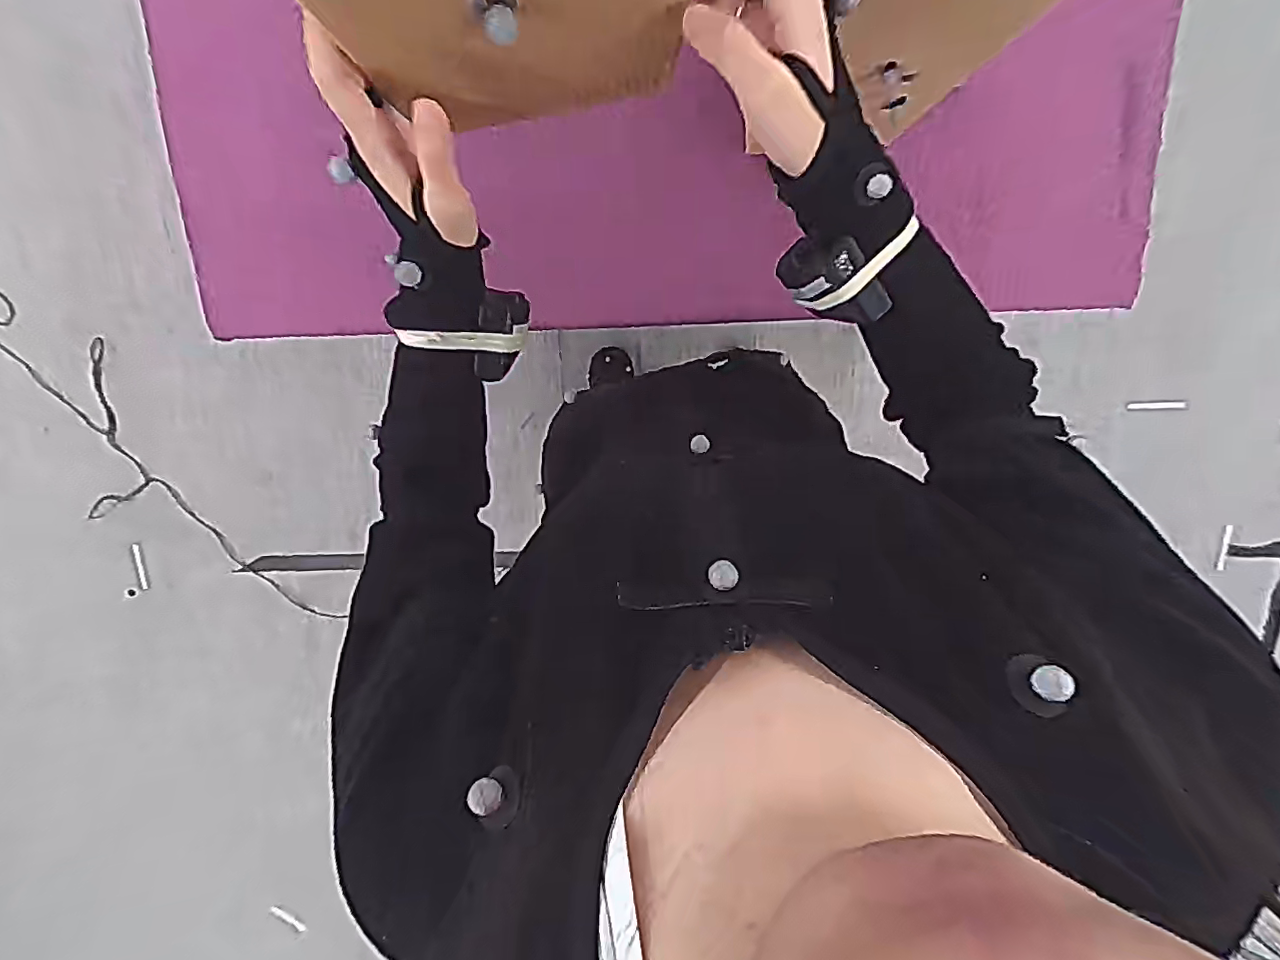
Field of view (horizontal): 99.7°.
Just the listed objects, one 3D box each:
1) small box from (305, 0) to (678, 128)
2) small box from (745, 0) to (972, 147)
[{"bbox_3d":[-0.075,-0.311,0.273,0.179,0.176,0.168,-11,104,1],"label":"small box"},{"bbox_3d":[0.212,-0.469,0.561,0.179,0.176,0.168,-3,102,1],"label":"small box"}]
